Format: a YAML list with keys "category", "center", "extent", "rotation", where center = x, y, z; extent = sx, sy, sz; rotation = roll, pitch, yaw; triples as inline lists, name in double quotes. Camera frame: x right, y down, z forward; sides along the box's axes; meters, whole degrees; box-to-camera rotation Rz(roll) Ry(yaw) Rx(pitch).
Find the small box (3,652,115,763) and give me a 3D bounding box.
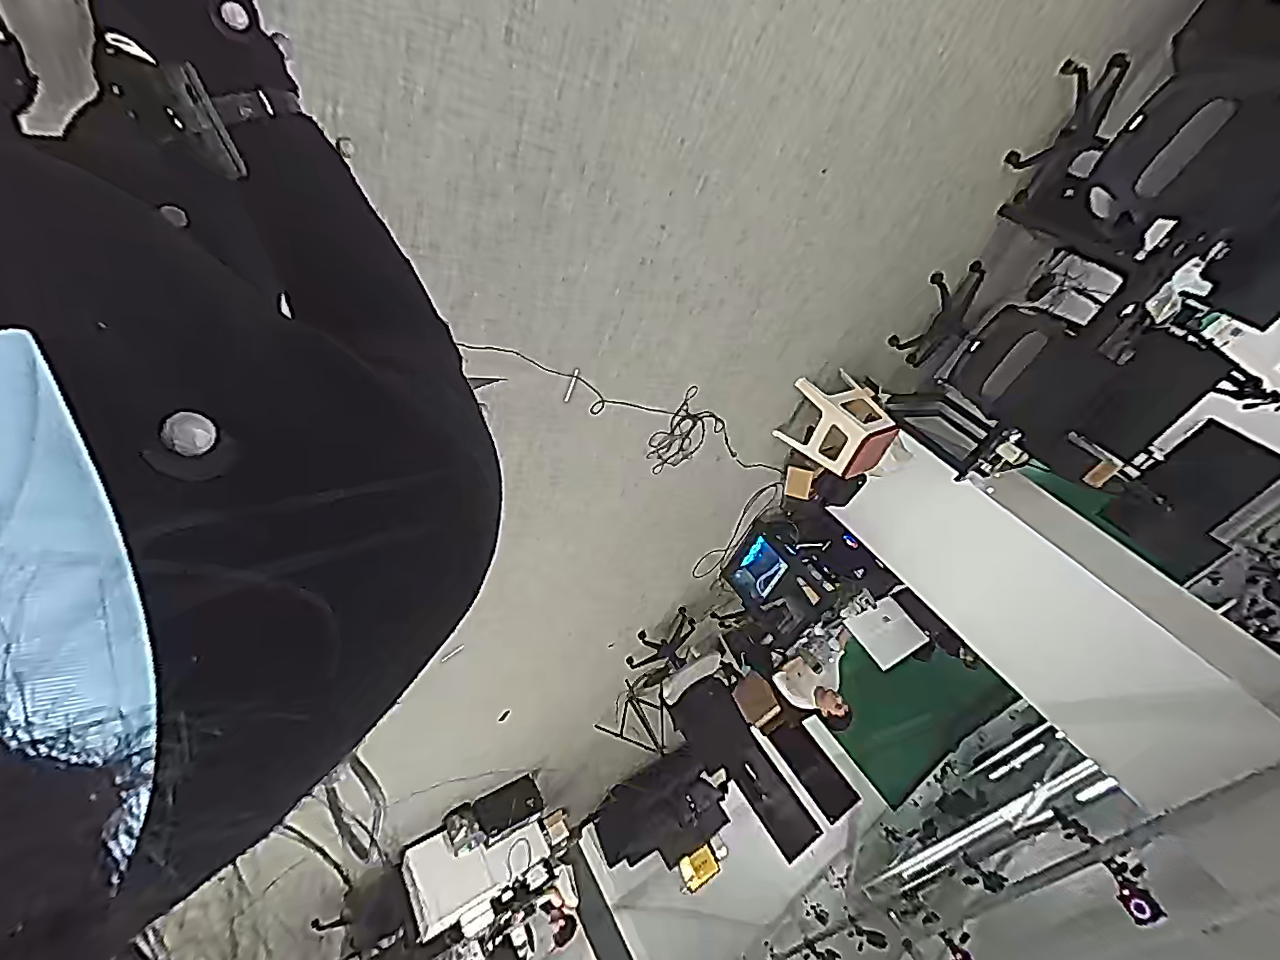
- category: "small box"
  center: [-1.458, 0.570, 1.369]
  extent: [0.168, 0.176, 0.179]
  rotation: [-9, 136, -39]
